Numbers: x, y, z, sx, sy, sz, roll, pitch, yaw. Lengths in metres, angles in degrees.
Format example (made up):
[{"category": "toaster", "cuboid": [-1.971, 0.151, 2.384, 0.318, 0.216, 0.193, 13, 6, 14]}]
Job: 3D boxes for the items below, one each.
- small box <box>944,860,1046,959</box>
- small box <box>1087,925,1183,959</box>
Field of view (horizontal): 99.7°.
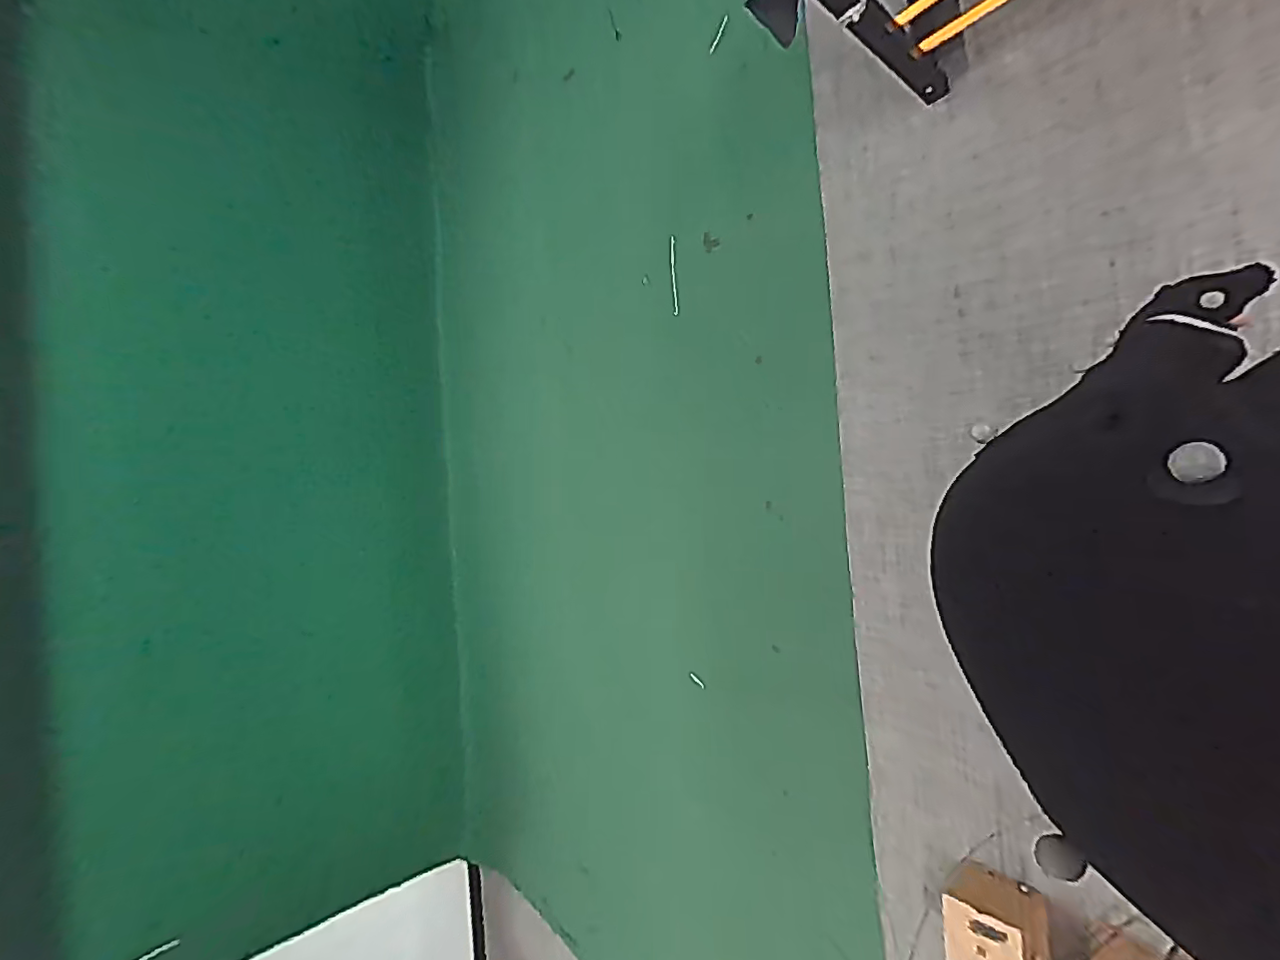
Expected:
[{"category": "small box", "cuboid": [0.848, 1.064, 1.292, 0.168, 0.176, 0.179, -3, 90, 50]}, {"category": "small box", "cuboid": [1.021, 1.067, 1.086, 0.168, 0.176, 0.179, -2, 90, 50]}]
